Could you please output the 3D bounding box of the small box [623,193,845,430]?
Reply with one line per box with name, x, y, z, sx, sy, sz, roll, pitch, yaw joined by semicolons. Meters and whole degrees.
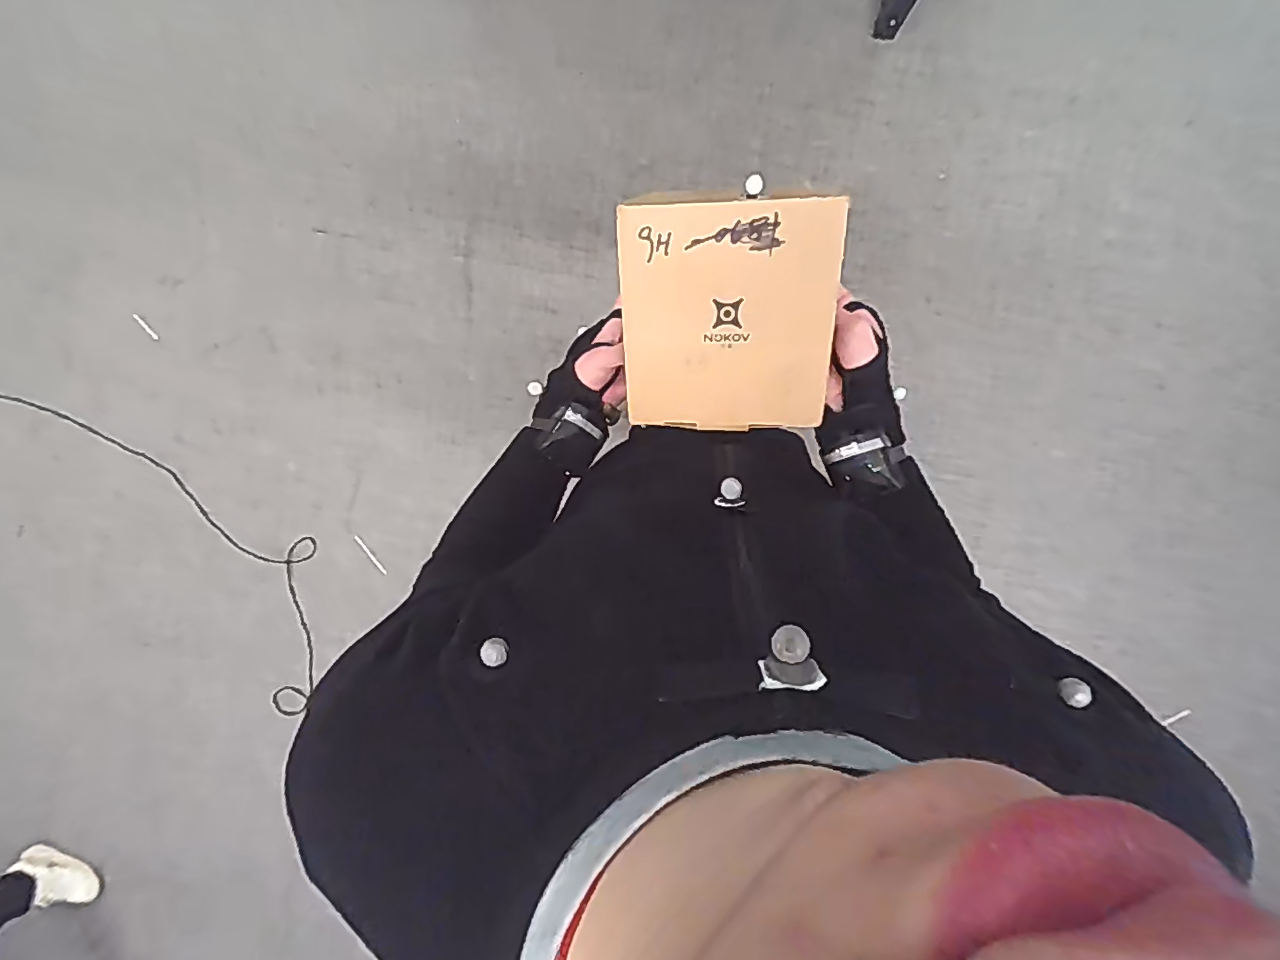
small box;0.080;-0.163;0.506;0.168;0.176;0.179;2;121;7
